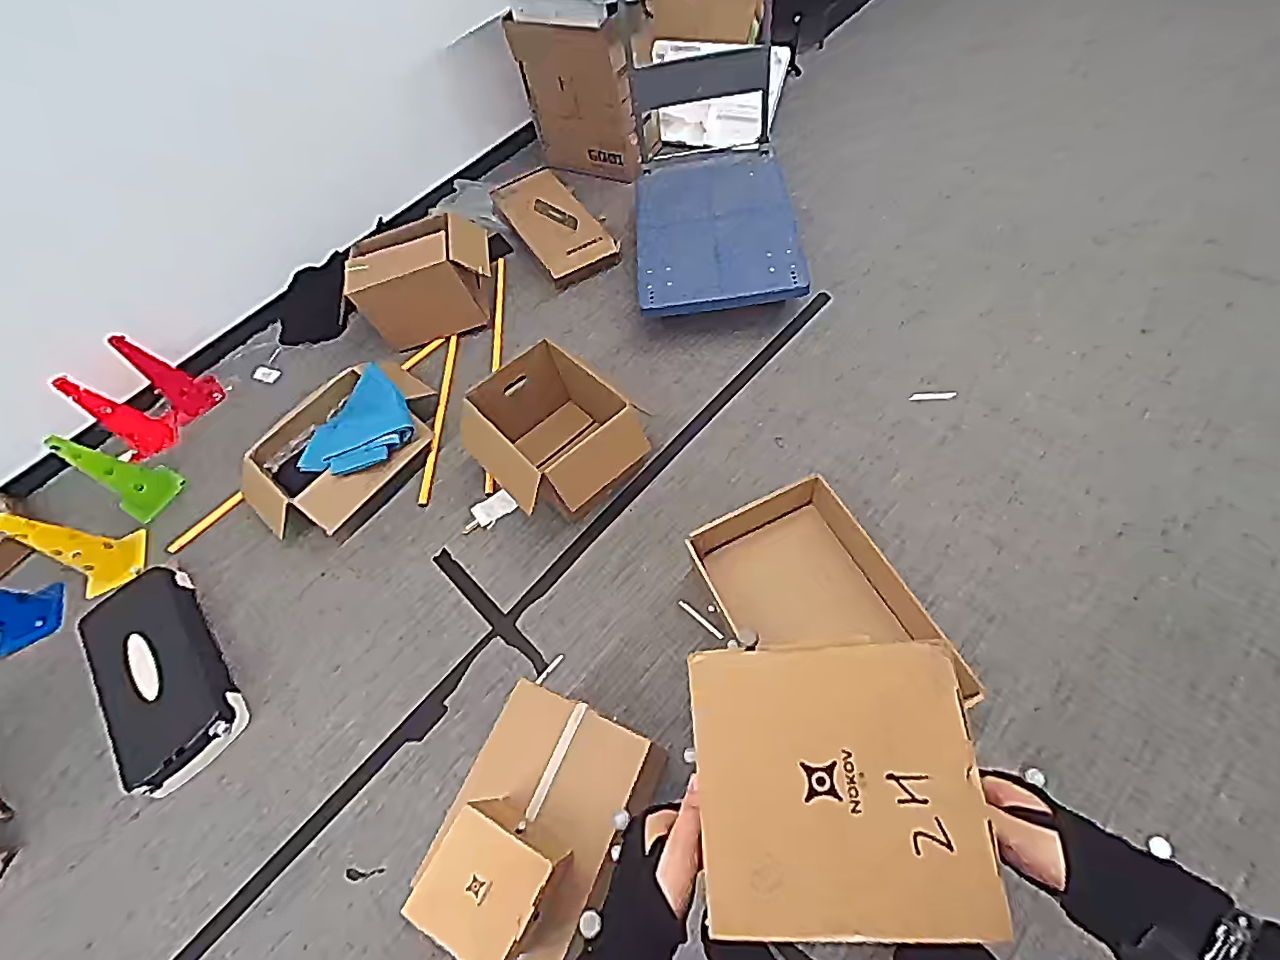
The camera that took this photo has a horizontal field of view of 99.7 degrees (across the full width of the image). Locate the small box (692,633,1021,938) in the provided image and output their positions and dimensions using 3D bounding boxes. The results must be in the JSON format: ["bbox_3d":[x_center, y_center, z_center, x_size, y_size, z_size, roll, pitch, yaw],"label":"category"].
[{"bbox_3d":[0.138,0.210,0.413,0.179,0.176,0.168,-5,71,8],"label":"small box"}]
